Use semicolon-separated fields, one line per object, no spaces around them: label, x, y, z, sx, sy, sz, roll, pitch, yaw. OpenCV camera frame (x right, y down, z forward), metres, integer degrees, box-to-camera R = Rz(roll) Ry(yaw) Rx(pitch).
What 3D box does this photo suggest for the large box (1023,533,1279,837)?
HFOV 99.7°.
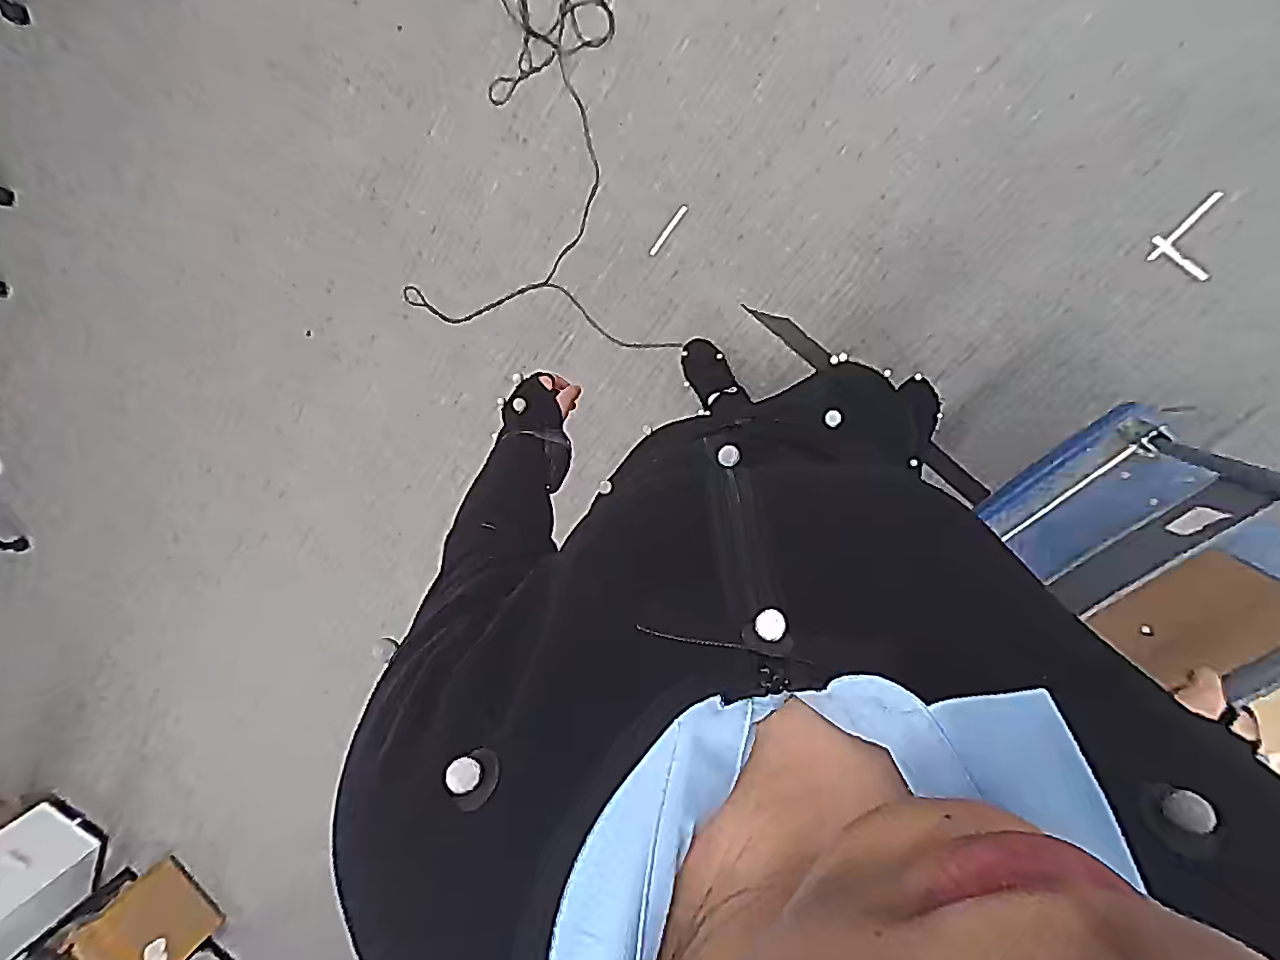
large box;1.084;0.379;1.054;0.320;0.320;0.408;44;111;0
